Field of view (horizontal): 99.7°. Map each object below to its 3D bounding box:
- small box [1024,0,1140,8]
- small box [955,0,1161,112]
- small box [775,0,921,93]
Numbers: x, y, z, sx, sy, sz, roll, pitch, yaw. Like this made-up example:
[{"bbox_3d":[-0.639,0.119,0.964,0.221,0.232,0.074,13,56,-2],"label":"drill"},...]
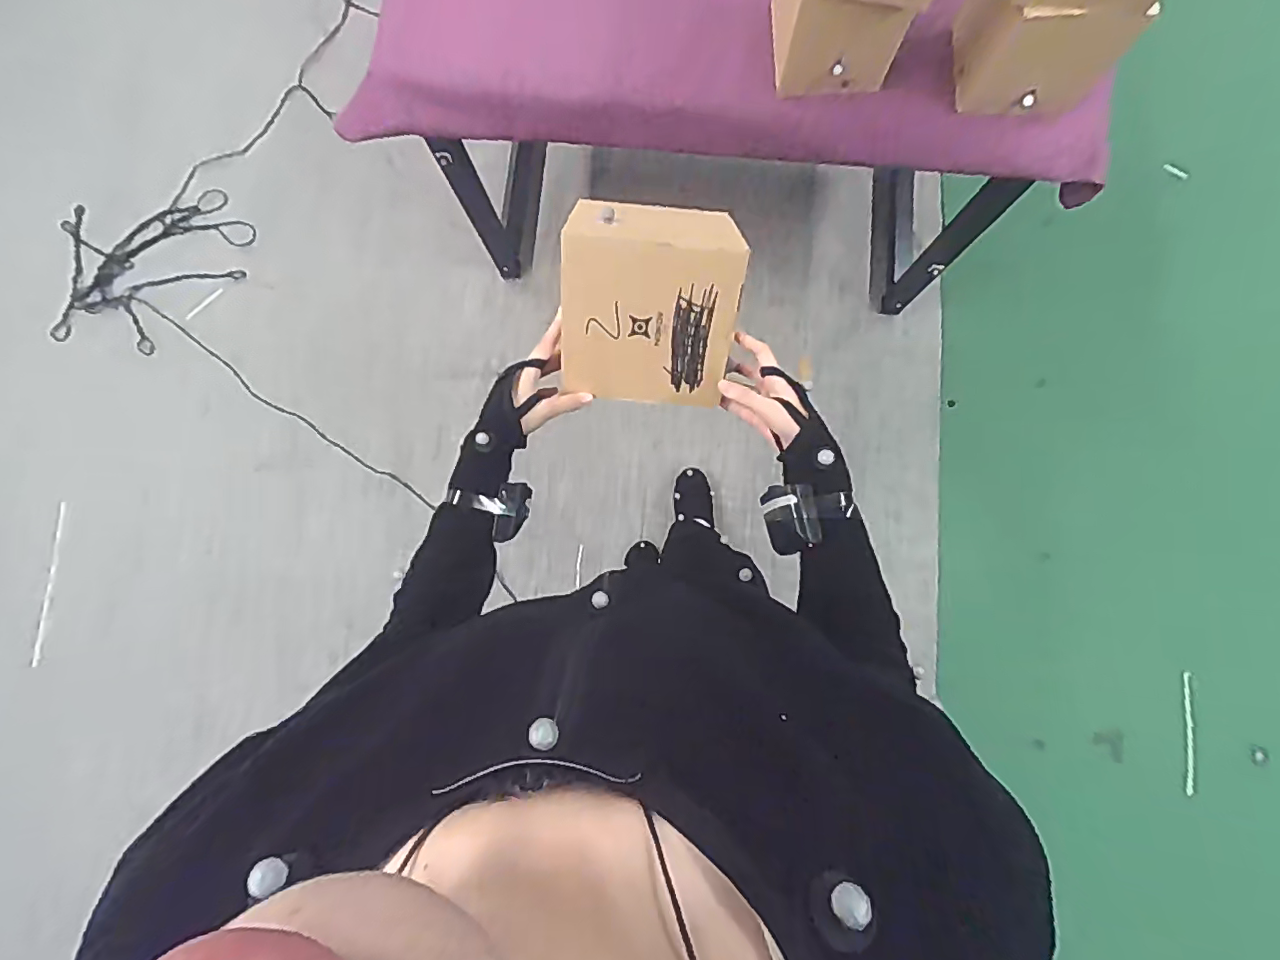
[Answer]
[{"bbox_3d":[0.578,-0.703,0.631,0.179,0.176,0.168,7,83,4],"label":"small box"},{"bbox_3d":[0.595,-0.675,0.792,0.179,0.176,0.168,2,83,2],"label":"small box"},{"bbox_3d":[0.301,-0.725,0.808,0.168,0.176,0.179,-1,82,2],"label":"small box"}]
